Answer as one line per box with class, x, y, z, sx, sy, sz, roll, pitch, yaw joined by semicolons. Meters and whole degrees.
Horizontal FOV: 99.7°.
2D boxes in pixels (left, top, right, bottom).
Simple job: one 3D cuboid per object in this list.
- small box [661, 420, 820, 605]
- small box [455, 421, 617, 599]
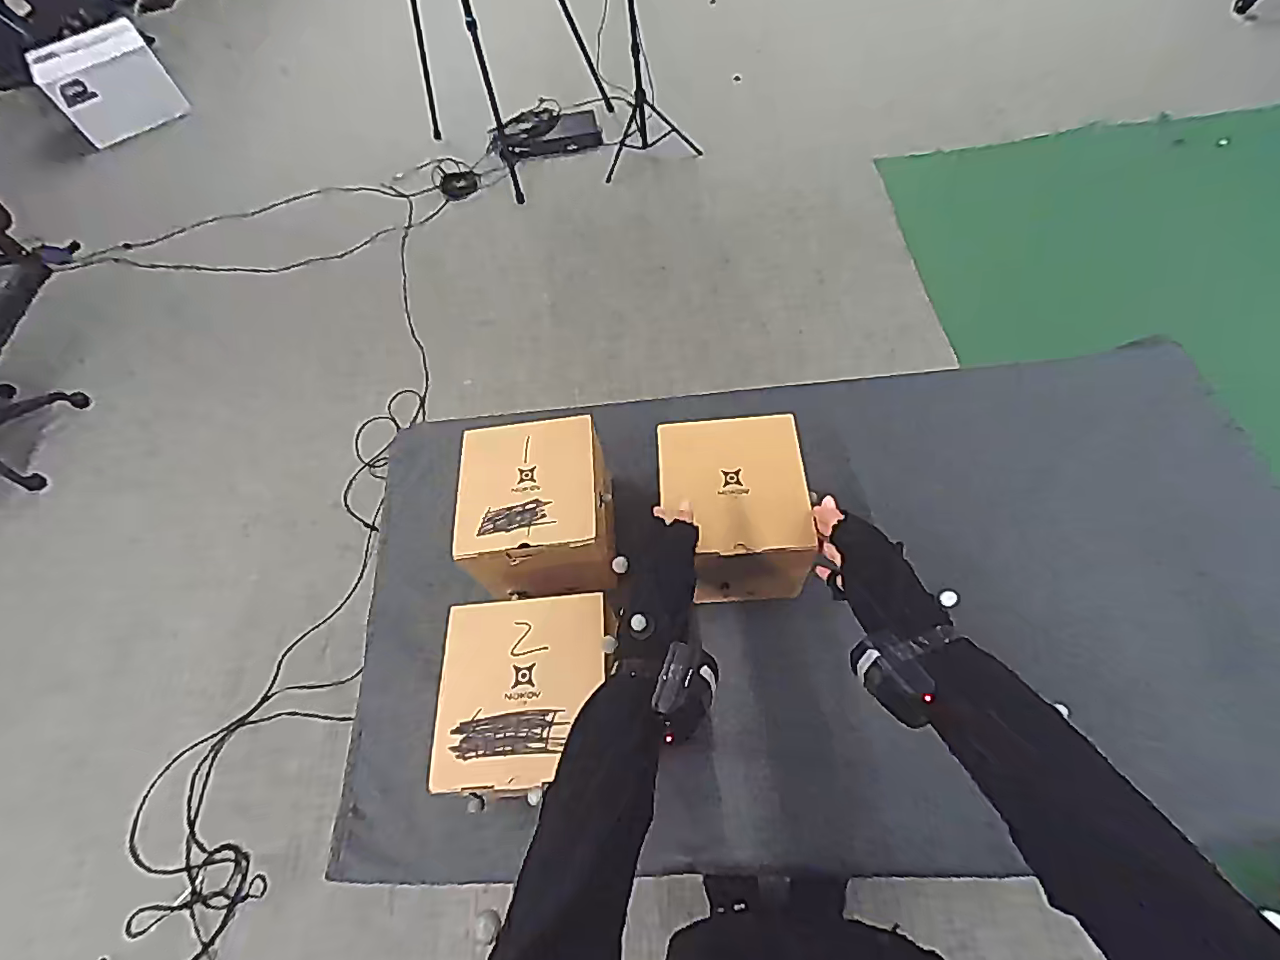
small box;0.114;0.047;0.683;0.168;0.176;0.179;-5;61;4
small box;-0.124;0.048;0.711;0.168;0.176;0.179;-7;59;3
